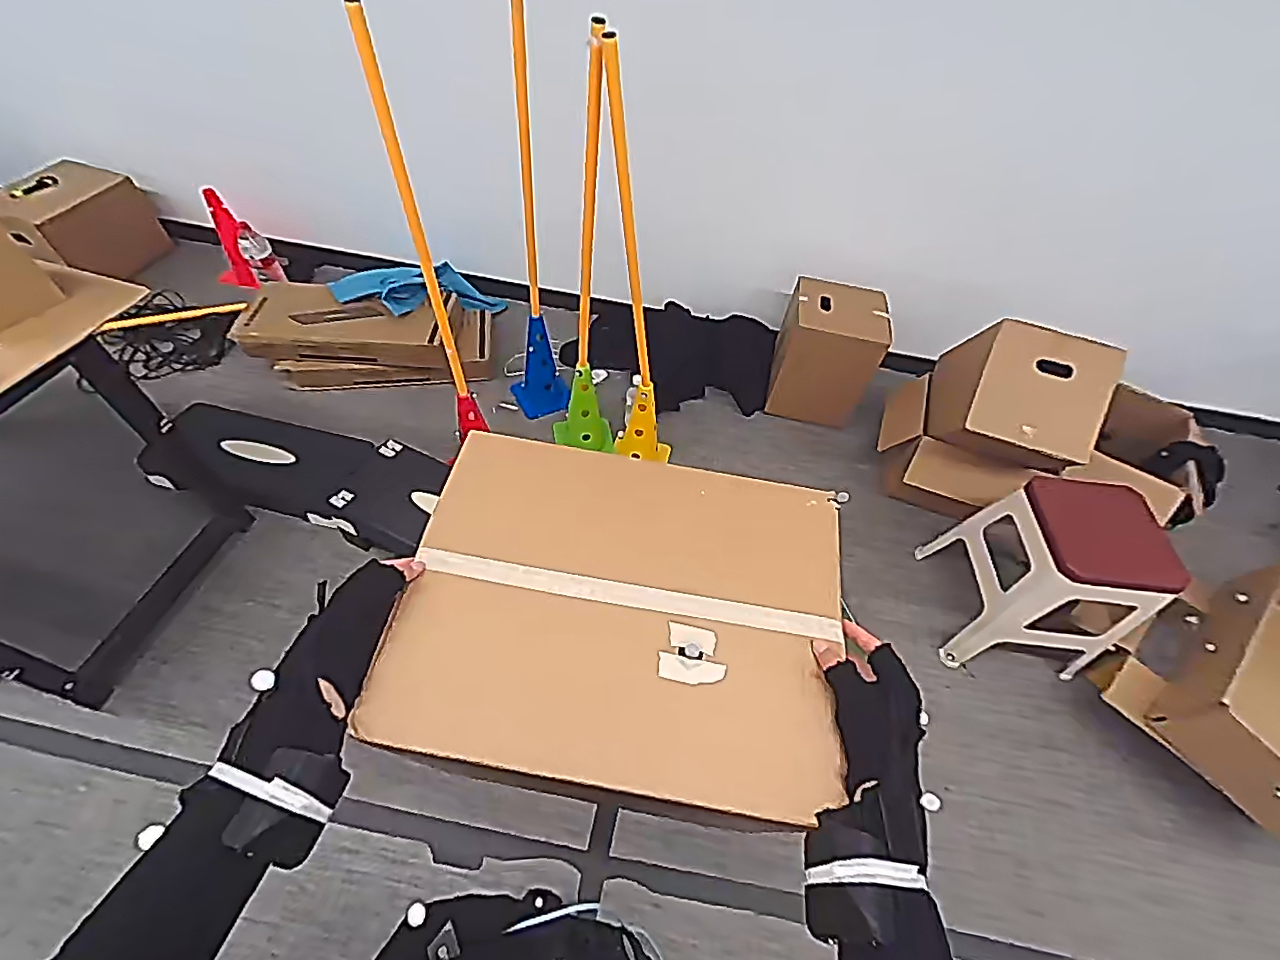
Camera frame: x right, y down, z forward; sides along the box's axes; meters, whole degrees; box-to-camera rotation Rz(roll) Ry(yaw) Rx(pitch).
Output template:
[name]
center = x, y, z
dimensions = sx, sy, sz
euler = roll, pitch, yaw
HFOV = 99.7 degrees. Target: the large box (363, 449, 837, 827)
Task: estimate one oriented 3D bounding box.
[large box]
center = -0.025, 0.200, 0.646
dimensions = 0.408, 0.320, 0.320
euler = 10, 58, 2
